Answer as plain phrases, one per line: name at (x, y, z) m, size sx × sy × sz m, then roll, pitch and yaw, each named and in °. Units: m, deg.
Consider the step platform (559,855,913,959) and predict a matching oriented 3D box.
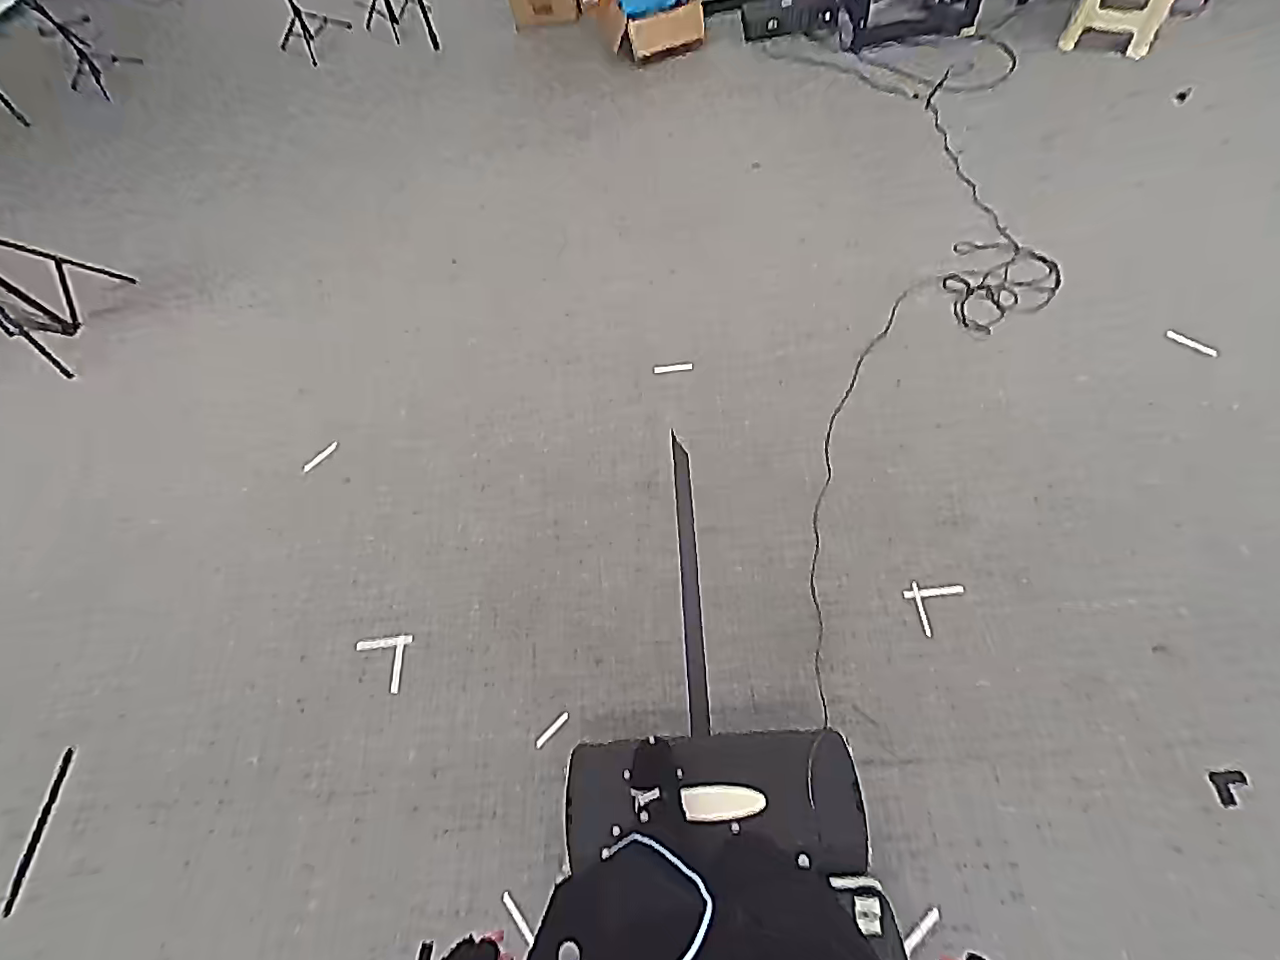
step platform at (0.181, 0.947, 1.081) m, size 0.684 × 0.204 × 0.286 m, roll -8°, pitch 60°, yaw 7°
